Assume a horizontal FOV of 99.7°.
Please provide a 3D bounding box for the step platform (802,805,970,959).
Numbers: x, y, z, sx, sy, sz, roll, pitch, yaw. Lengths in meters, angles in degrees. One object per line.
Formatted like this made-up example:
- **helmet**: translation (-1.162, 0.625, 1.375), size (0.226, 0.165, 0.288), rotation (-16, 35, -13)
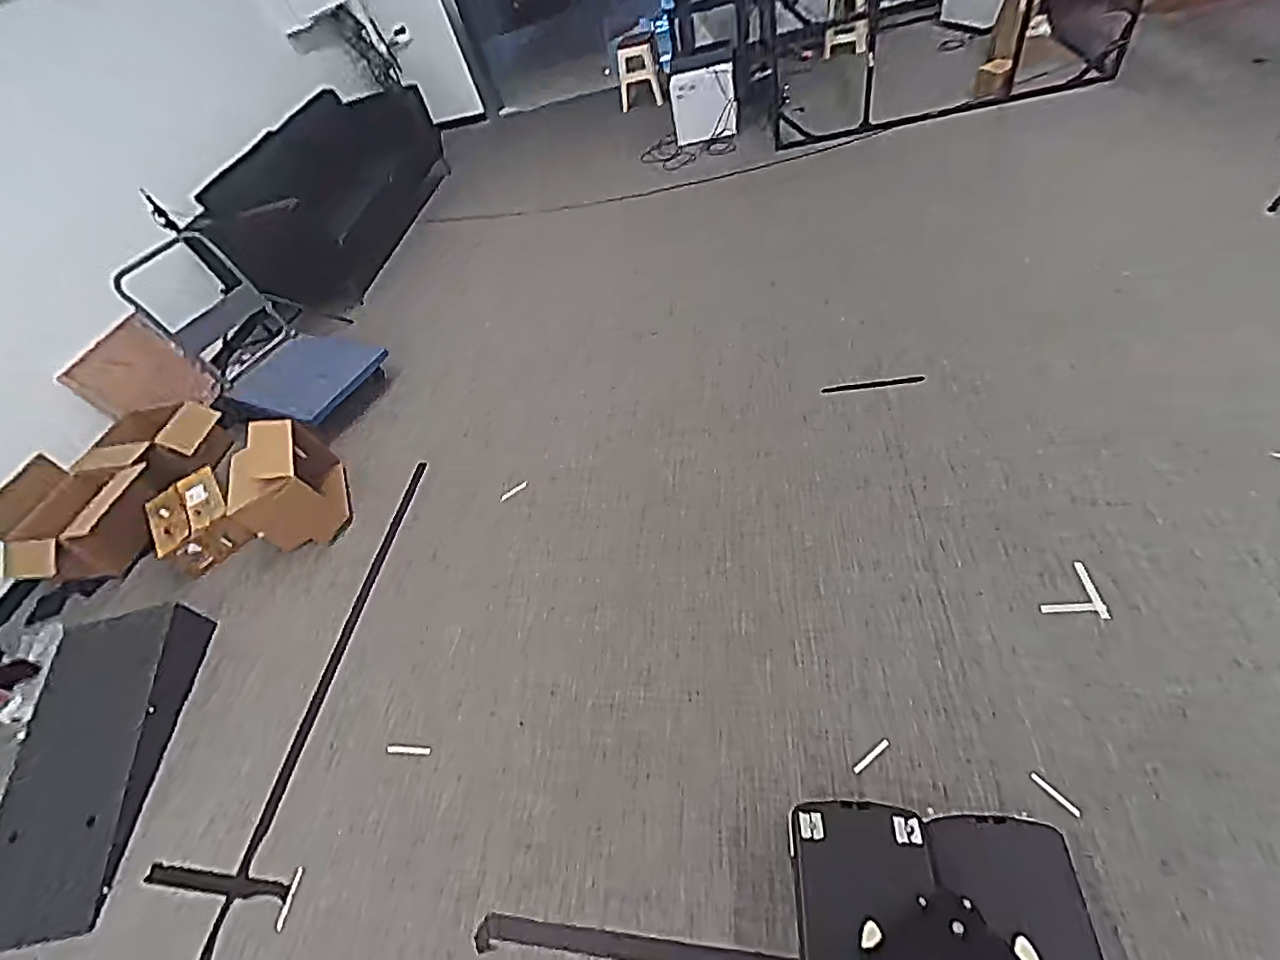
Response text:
- **step platform**: translation (0.495, 1.027, 1.044), size (0.286, 0.204, 0.684), rotation (-5, 50, 13)
